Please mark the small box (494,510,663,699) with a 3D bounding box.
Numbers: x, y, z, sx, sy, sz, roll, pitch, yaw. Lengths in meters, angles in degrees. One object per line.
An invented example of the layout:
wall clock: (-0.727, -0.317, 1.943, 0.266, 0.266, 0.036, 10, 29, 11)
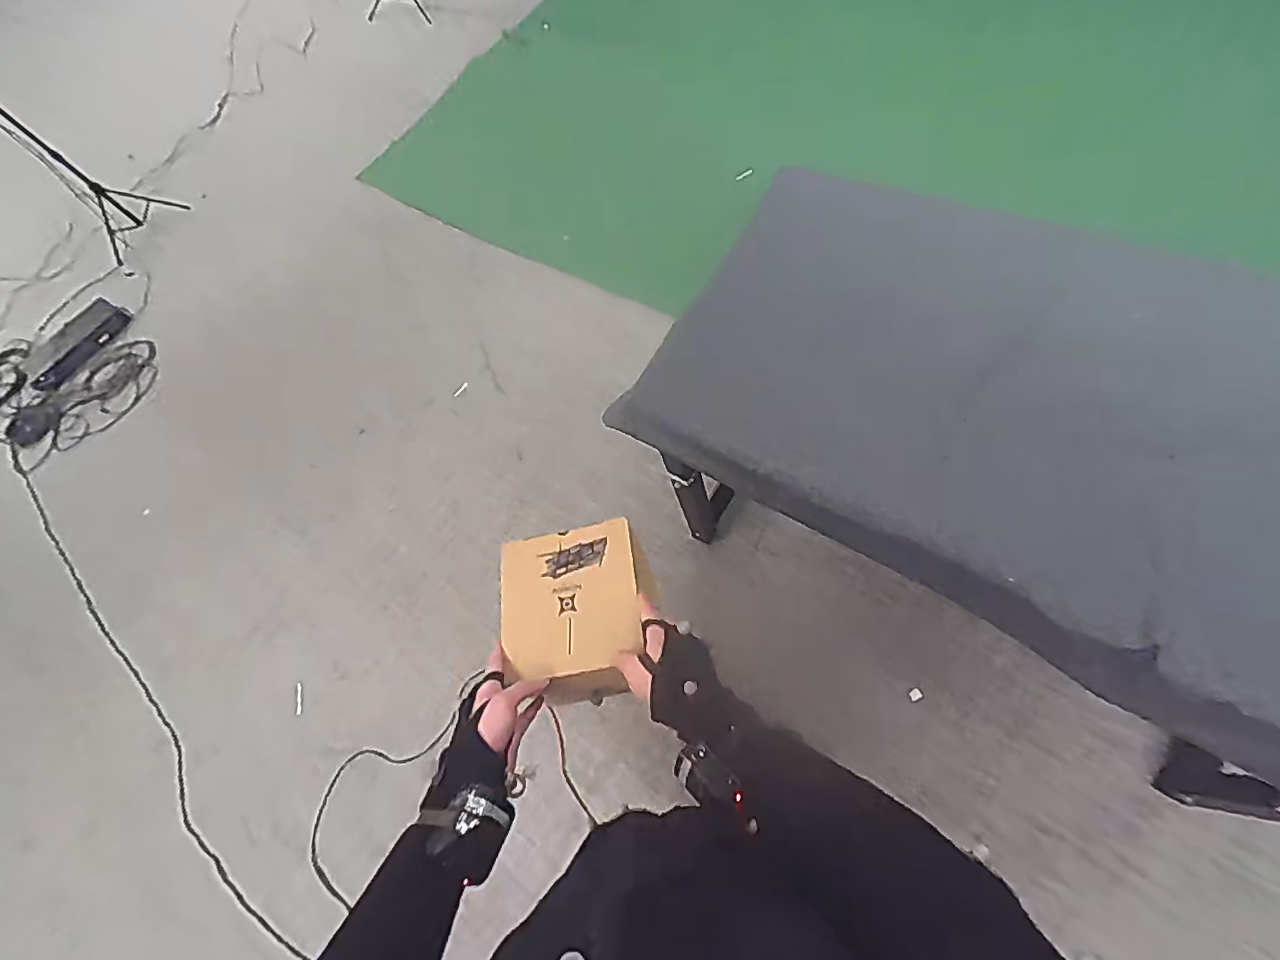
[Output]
small box: (-0.071, 0.162, 0.681, 0.168, 0.176, 0.179, -12, 60, 6)
